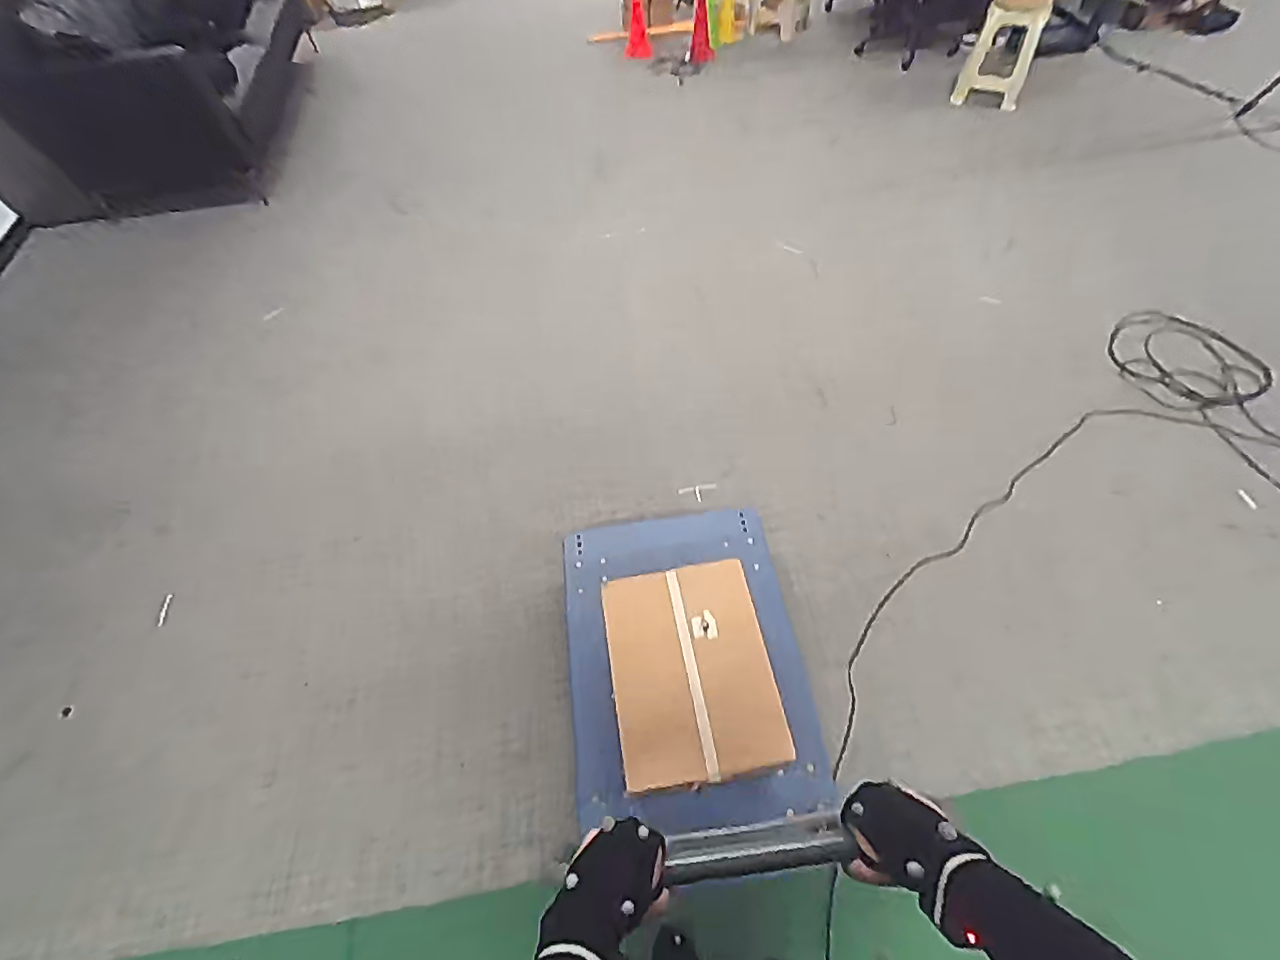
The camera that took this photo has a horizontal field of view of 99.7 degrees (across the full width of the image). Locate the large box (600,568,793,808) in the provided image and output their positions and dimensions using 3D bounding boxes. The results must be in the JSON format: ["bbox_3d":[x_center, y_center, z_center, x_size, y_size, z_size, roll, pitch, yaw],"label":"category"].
[{"bbox_3d":[0.107,0.465,1.203,0.320,0.320,0.408,-10,56,-3],"label":"large box"}]
